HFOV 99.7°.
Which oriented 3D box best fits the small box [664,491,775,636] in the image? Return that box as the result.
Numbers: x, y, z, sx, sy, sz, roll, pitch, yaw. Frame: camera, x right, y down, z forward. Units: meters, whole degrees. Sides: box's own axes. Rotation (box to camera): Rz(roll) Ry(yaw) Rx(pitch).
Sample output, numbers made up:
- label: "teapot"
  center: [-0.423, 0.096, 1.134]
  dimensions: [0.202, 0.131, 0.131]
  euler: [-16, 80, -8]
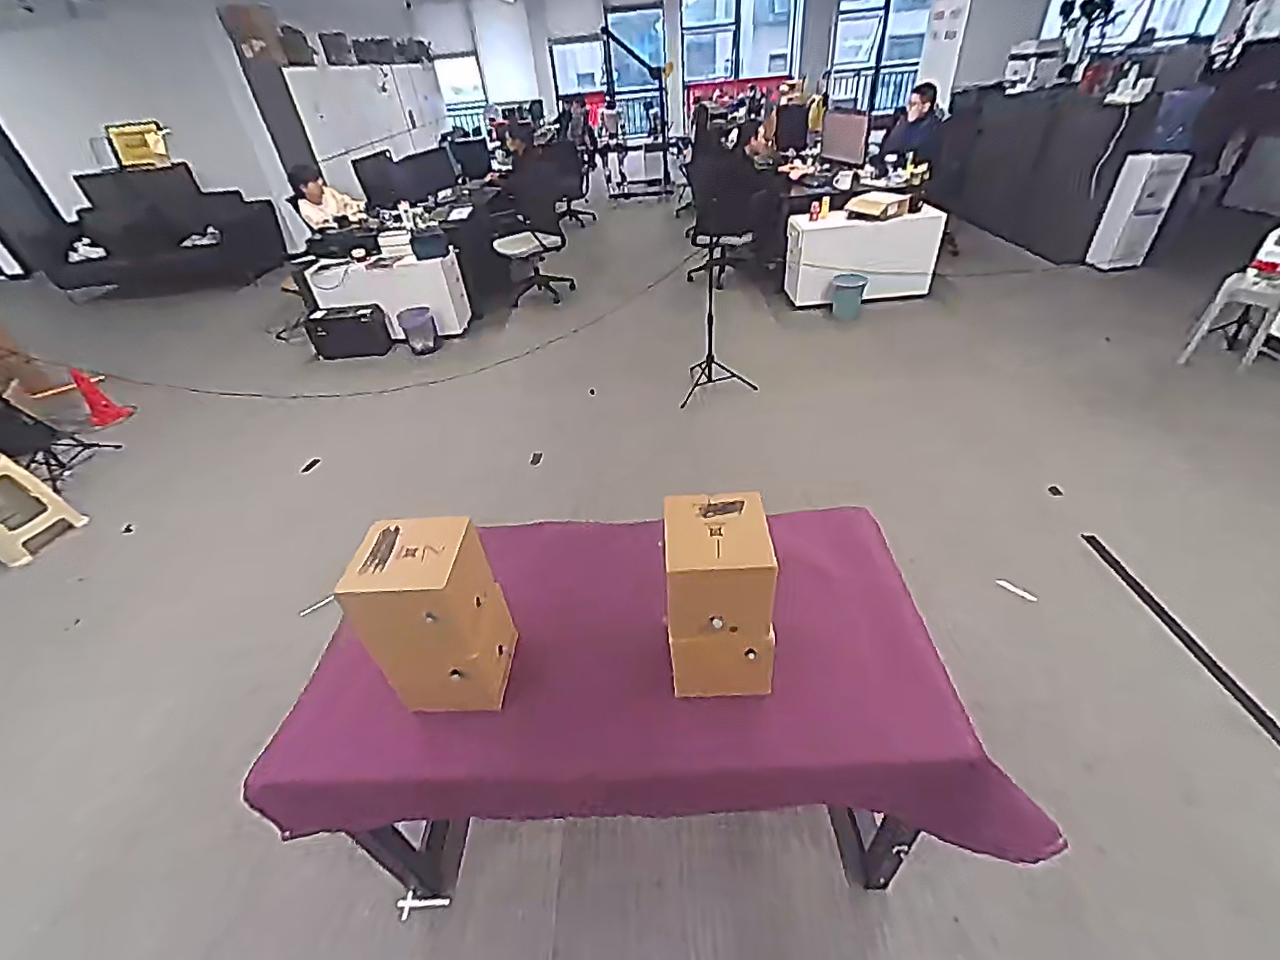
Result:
- label: "small box"
  center: [0.124, 0.139, 0.905]
  dimensions: [0.168, 0.176, 0.179]
  euler: [-3, 38, 4]

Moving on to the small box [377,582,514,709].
- label: "small box"
  center: [-0.348, 0.310, 1.012]
  dimensions: [0.179, 0.176, 0.168]
  euler: [-3, 38, 4]

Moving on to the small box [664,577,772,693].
- label: "small box"
  center: [0.139, 0.275, 0.996]
  dimensions: [0.179, 0.176, 0.168]
  euler: [-3, 38, 3]
